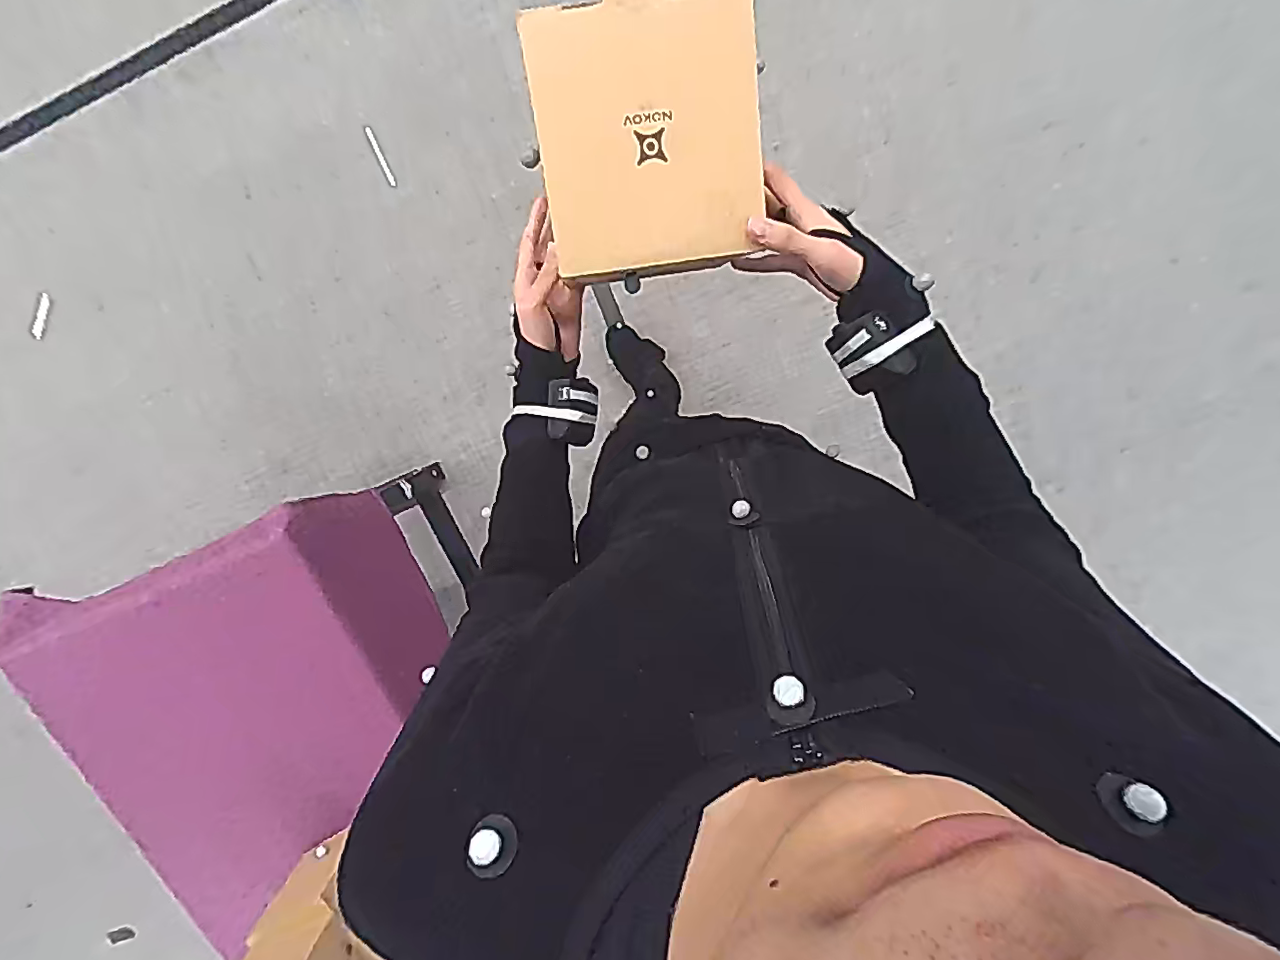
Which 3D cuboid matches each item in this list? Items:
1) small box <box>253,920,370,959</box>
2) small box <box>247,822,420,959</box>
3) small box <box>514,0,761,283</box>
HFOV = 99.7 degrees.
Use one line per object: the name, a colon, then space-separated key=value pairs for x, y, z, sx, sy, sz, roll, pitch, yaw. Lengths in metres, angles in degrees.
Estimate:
small box: x=-0.530 y=0.828 z=0.815 sx=0.179 sy=0.176 sz=0.168 roll=-28 pitch=102 yaw=6
small box: x=-0.533 y=0.771 z=0.971 sx=0.168 sy=0.176 sz=0.179 roll=-33 pitch=100 yaw=6
small box: x=-0.001 y=-0.273 z=0.472 sx=0.168 sy=0.176 sz=0.179 roll=-9 pitch=106 yaw=-2
